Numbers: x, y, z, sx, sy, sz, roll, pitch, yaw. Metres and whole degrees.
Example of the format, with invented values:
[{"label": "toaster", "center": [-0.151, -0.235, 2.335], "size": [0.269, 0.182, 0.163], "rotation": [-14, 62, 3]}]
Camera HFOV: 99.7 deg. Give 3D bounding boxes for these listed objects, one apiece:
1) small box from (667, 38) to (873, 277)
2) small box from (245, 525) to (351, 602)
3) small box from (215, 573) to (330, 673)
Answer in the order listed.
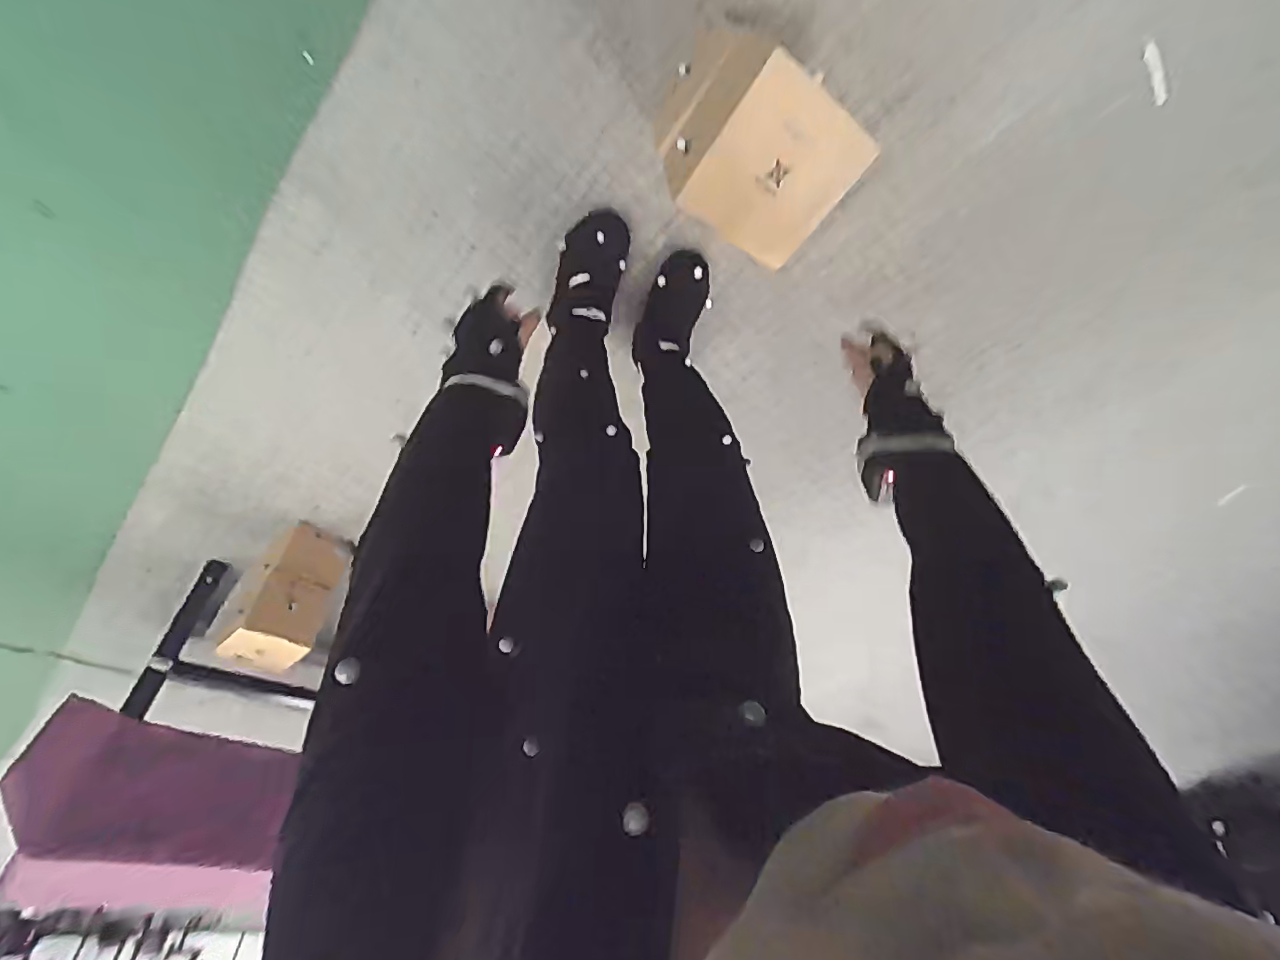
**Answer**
[{"label": "small box", "center": [0.146, -0.400, 0.676], "size": [0.168, 0.176, 0.179], "rotation": [24, 128, -26]}, {"label": "small box", "center": [-0.940, 0.253, 1.507], "size": [0.179, 0.176, 0.168], "rotation": [-29, 130, 24]}, {"label": "small box", "center": [-0.930, 0.364, 1.386], "size": [0.179, 0.176, 0.168], "rotation": [-33, 128, 25]}]
